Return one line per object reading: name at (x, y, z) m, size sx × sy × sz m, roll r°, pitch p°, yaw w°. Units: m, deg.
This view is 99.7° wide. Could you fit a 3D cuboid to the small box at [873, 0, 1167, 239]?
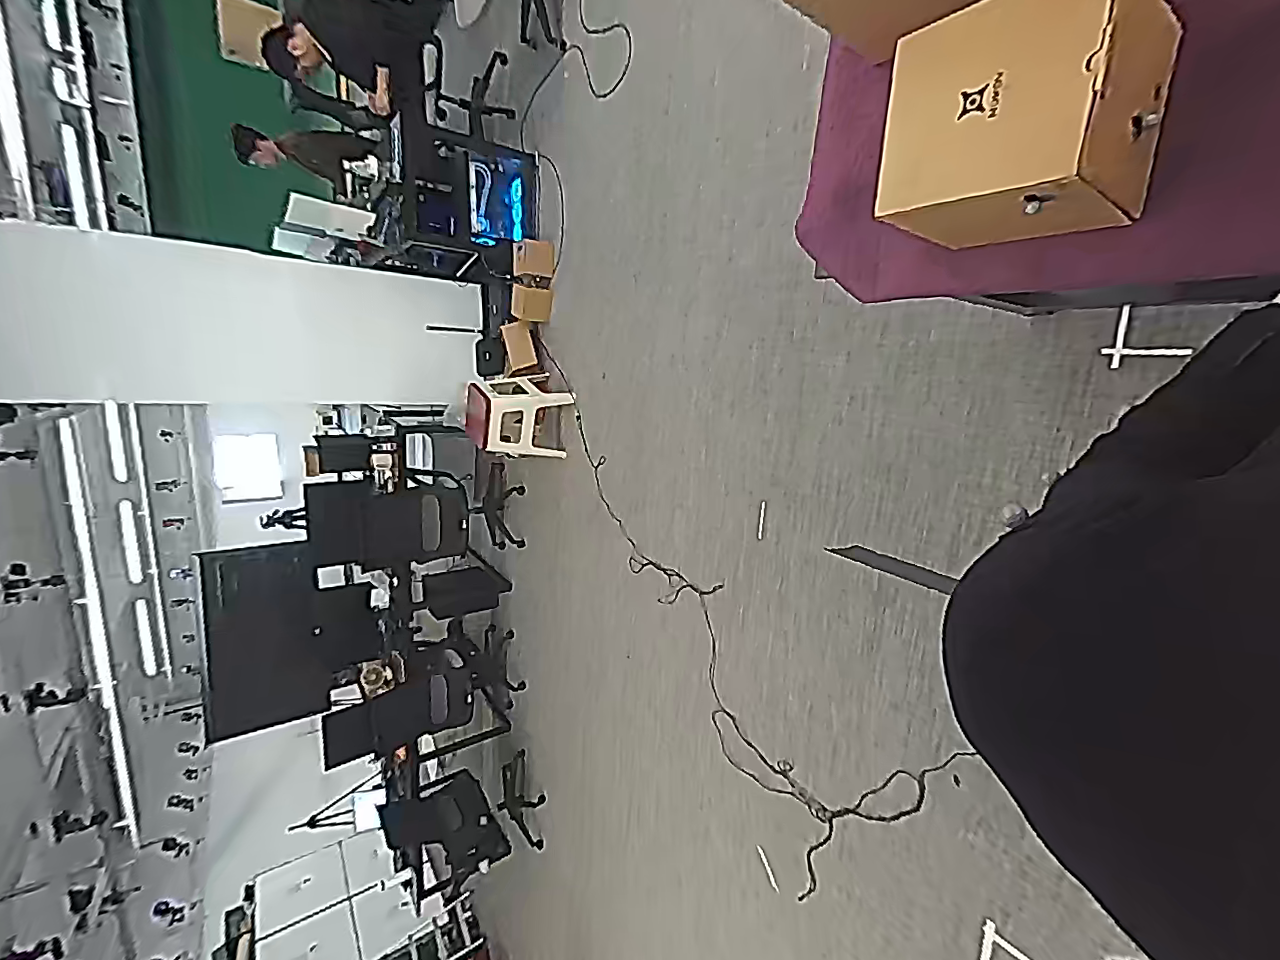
small box at (0.363, -0.348, 0.529) m, size 0.179 × 0.176 × 0.168 m, roll 17°, pitch 108°, yaw 52°
